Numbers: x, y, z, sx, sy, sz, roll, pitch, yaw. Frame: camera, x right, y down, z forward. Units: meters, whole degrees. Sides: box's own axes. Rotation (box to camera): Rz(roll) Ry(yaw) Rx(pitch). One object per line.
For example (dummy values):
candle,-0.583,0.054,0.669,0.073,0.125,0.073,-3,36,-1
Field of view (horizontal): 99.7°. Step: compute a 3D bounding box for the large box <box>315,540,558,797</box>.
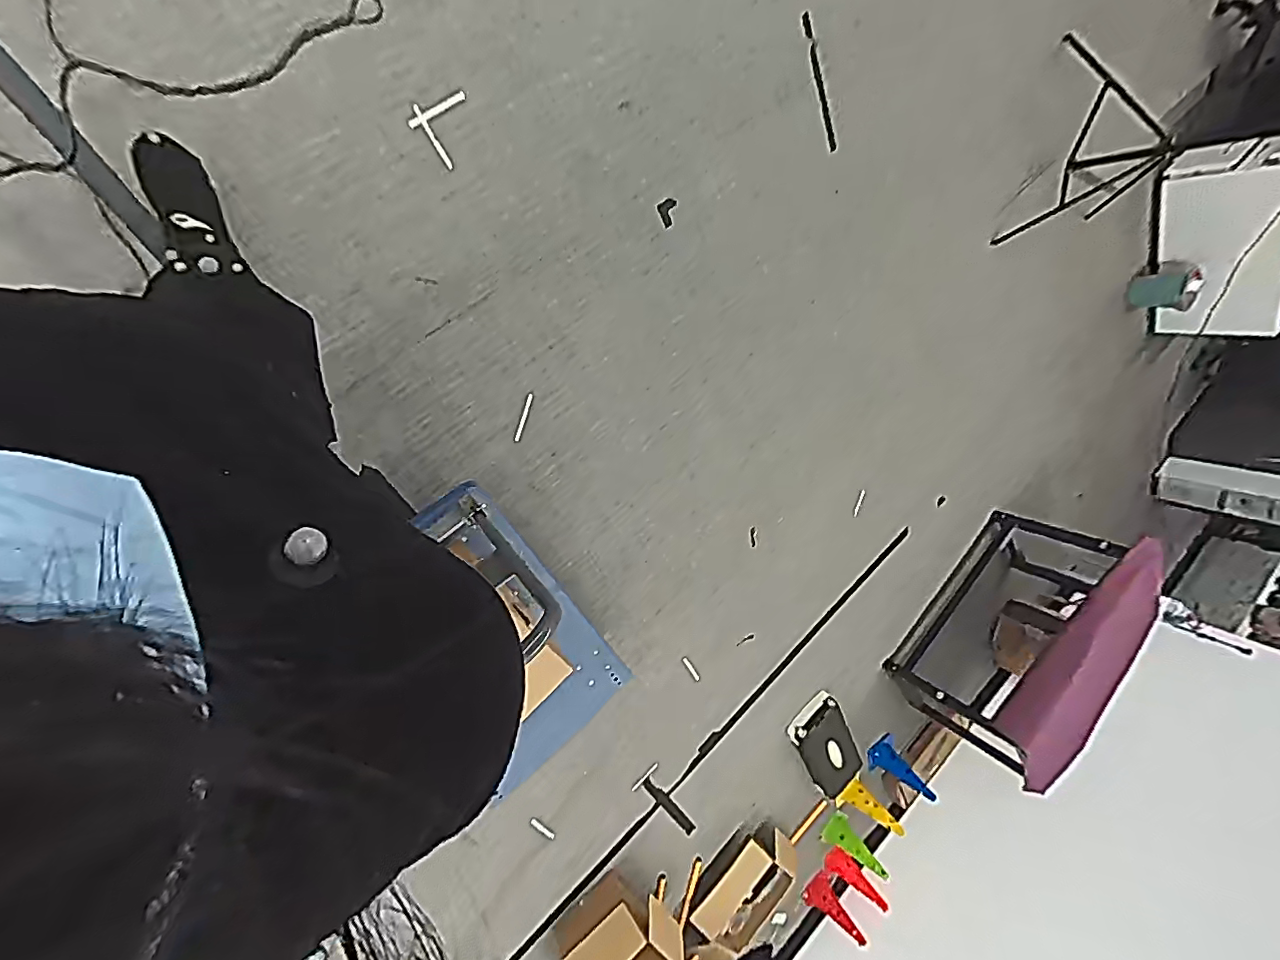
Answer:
large box,-0.477,0.418,1.268,0.408,0.320,0.320,-43,122,-13
